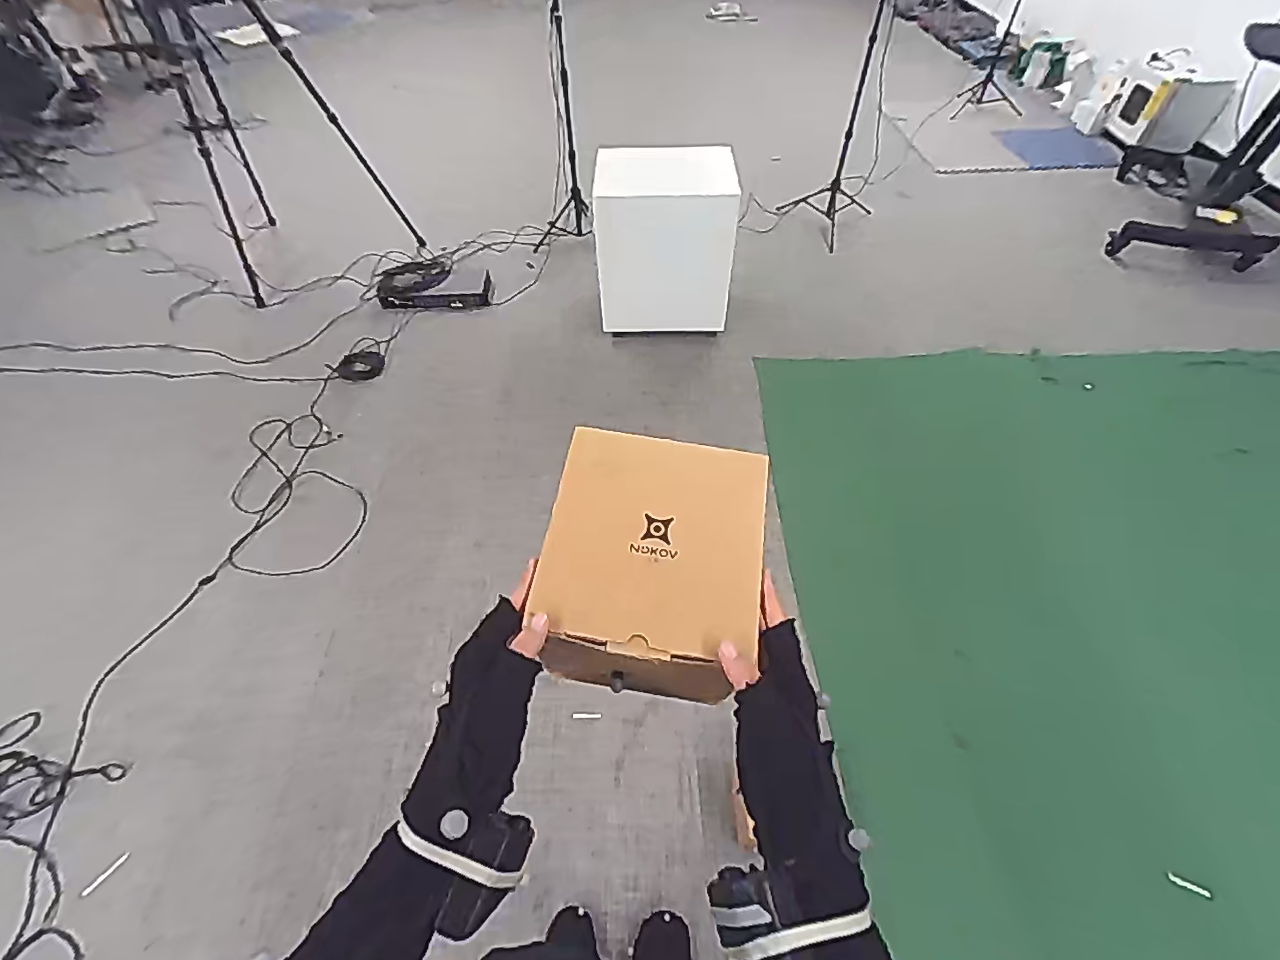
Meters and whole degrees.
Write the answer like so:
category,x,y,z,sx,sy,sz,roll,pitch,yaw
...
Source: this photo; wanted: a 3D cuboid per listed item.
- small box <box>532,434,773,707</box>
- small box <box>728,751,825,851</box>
category,x,y,z,sx,sy,sz,roll,pitch,yaw
small box,0.014,0.087,0.480,0.168,0.176,0.179,9,60,3
small box,0.294,0.715,1.199,0.168,0.176,0.179,0,51,0
